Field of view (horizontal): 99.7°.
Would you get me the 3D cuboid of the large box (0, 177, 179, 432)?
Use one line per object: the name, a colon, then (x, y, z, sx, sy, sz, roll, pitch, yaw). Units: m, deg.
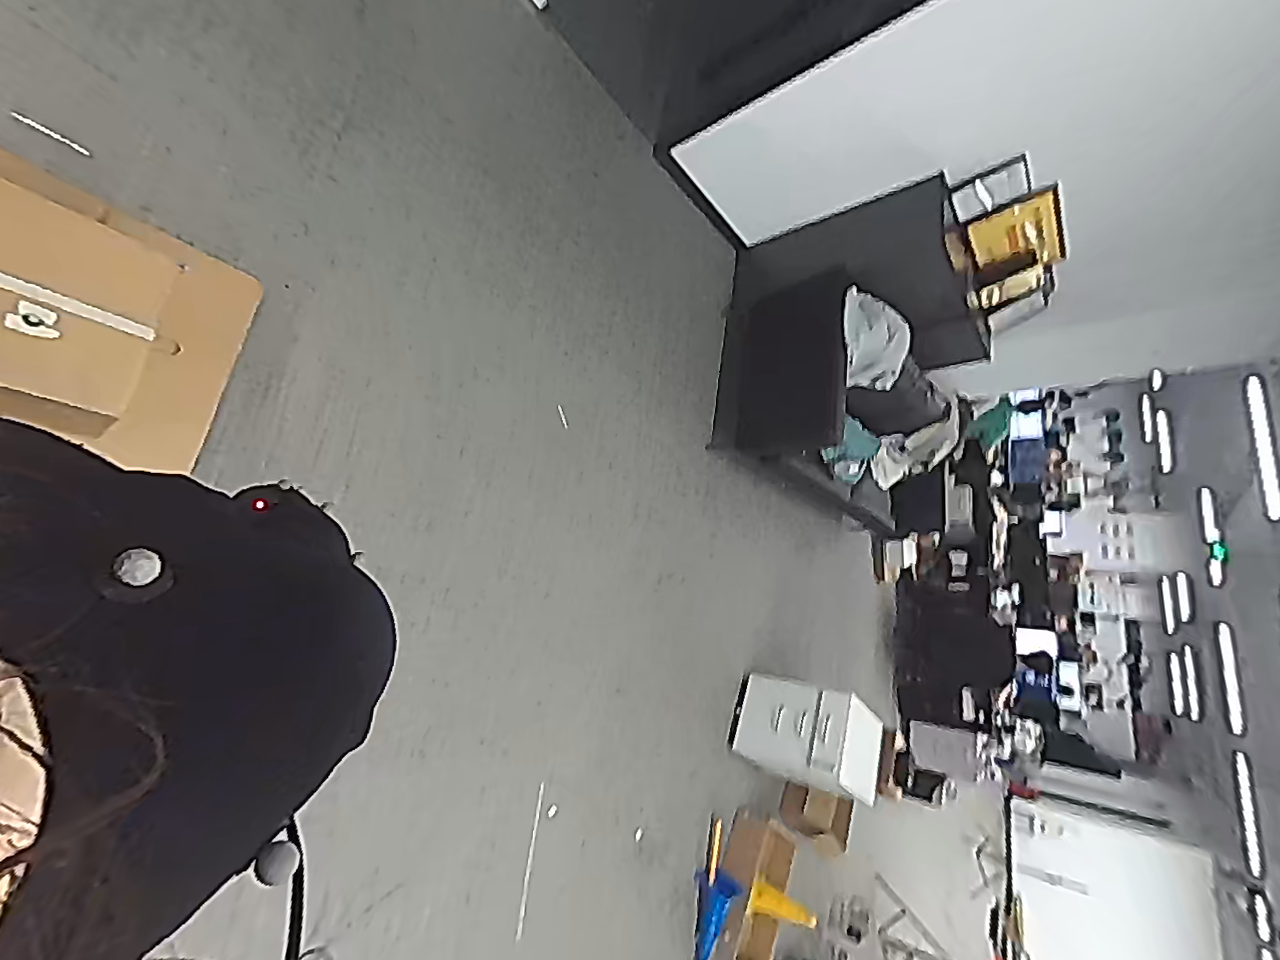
large box: (-1.098, -0.300, 0.895, 0.408, 0.320, 0.320, 25, 69, -48)
